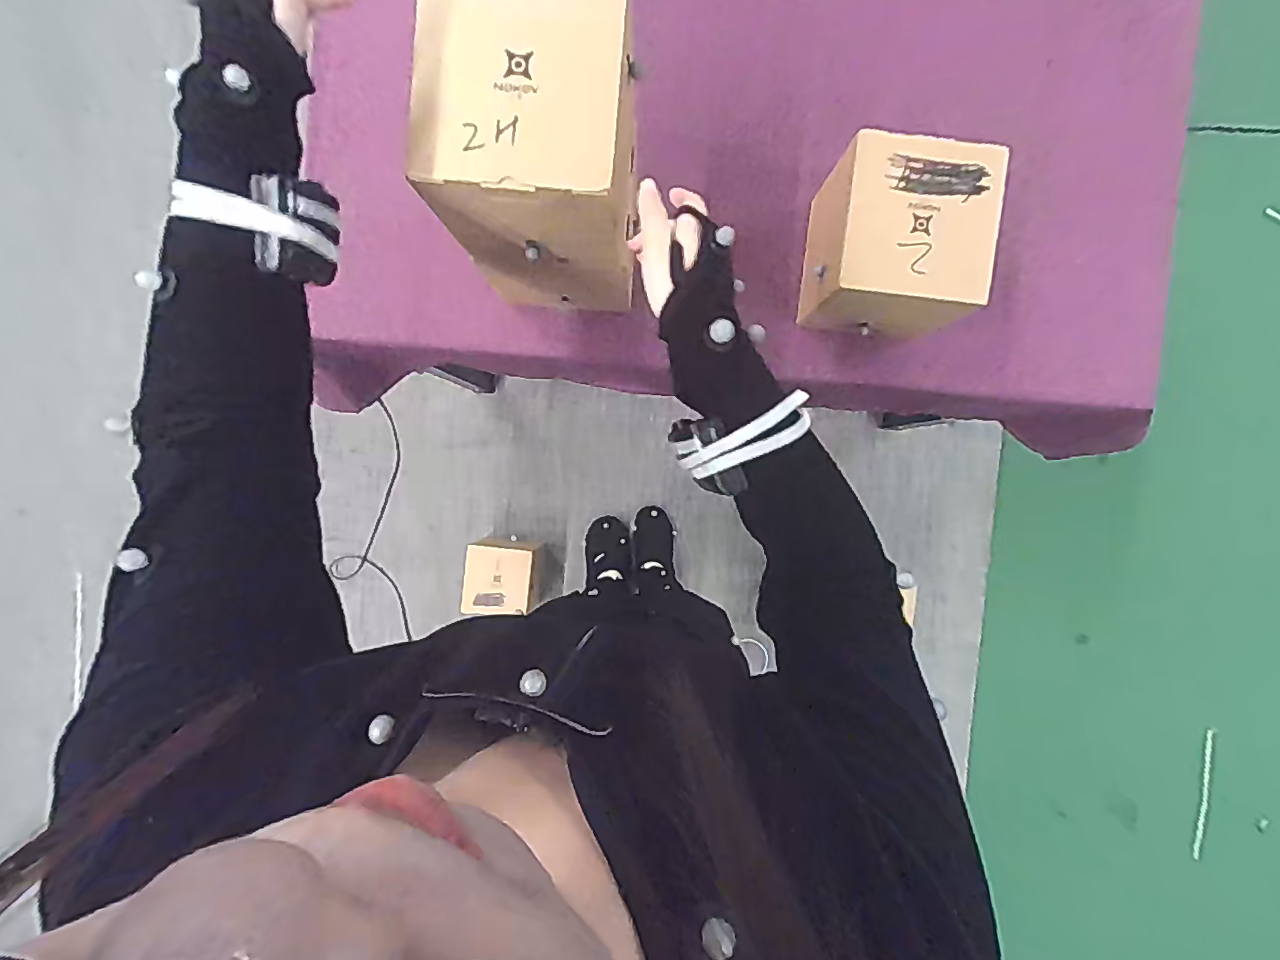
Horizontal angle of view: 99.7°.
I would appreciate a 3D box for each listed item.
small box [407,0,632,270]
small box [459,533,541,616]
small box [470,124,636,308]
[{"bbox_3d":[-0.097,-0.322,0.510,0.168,0.176,0.179,5,92,0],"label":"small box"},{"bbox_3d":[-0.363,0.242,1.426,0.168,0.176,0.179,6,91,0],"label":"small box"},{"bbox_3d":[-0.098,-0.322,0.676,0.179,0.176,0.168,4,91,-1],"label":"small box"}]
